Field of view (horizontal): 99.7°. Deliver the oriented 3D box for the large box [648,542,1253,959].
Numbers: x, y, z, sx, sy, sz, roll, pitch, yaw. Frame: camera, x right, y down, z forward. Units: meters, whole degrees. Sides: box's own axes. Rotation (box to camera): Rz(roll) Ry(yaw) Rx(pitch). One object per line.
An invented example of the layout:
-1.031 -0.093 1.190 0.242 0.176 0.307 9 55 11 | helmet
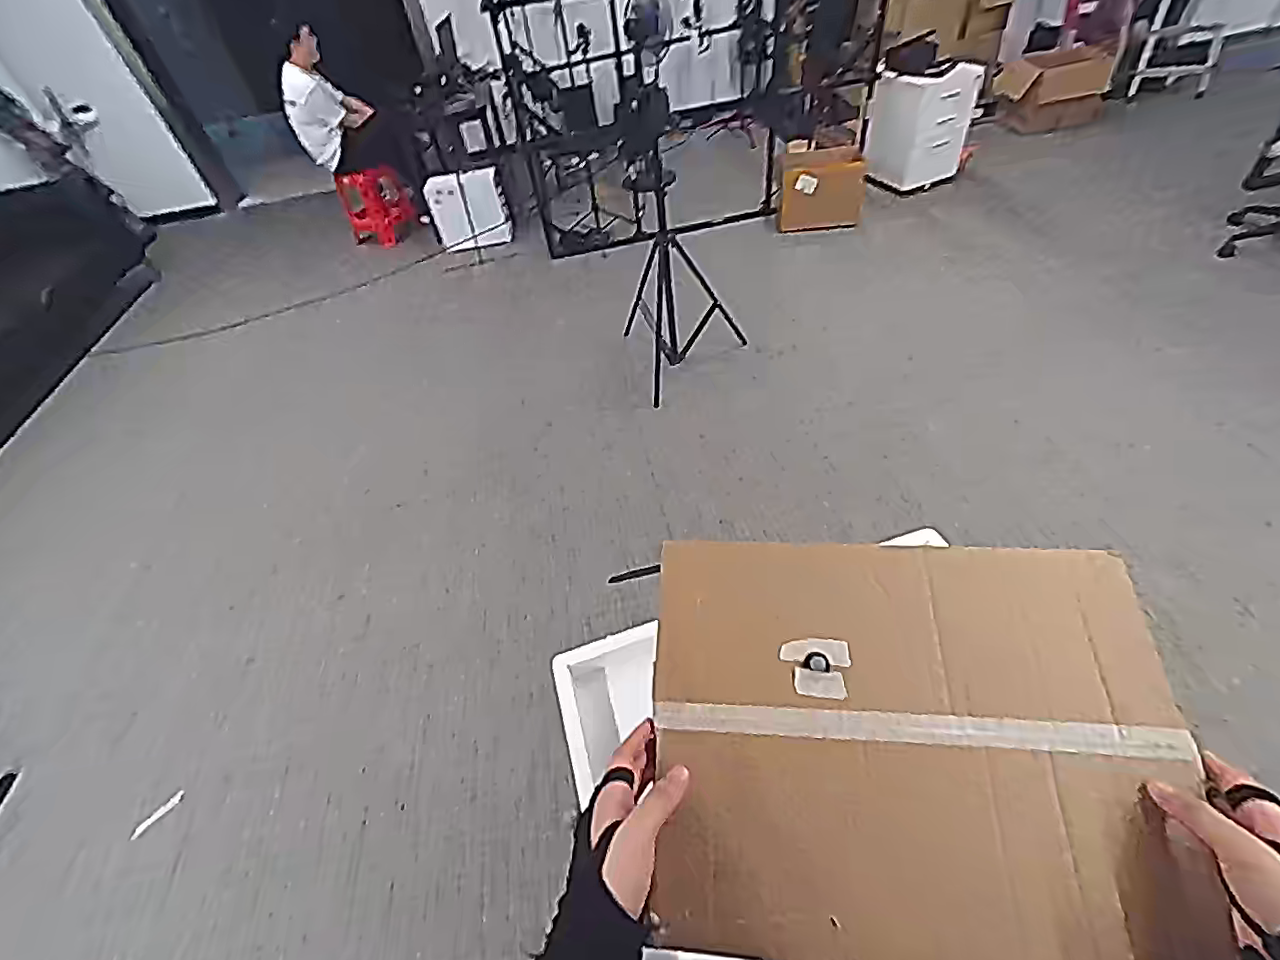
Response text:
0.227 0.264 0.566 0.408 0.320 0.320 -1 62 7 | large box
